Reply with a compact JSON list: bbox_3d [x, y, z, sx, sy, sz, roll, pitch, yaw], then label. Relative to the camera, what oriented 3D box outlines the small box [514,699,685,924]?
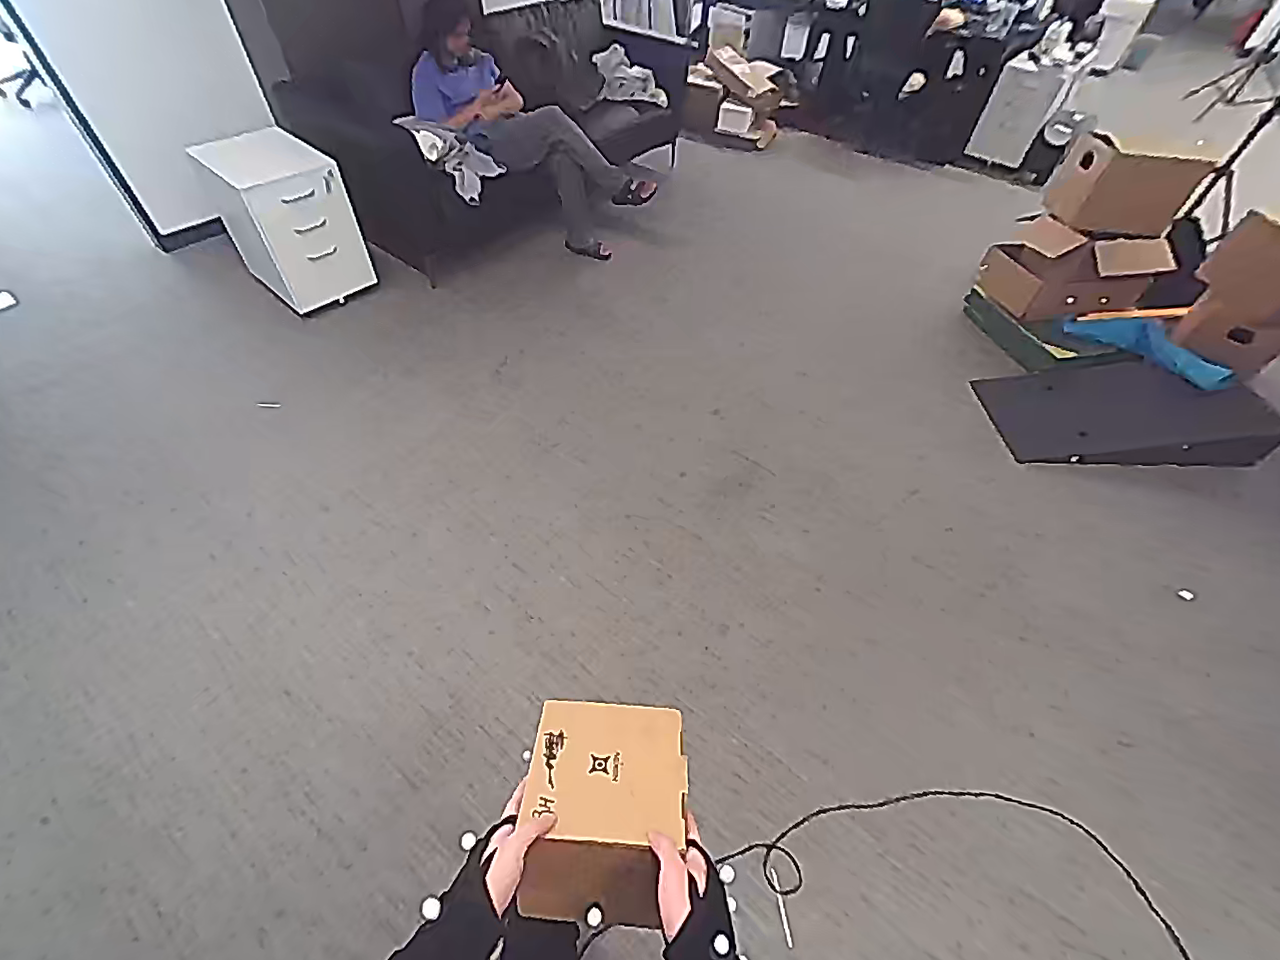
[{"bbox_3d":[-0.044,0.396,0.651,0.179,0.176,0.168,5,27,0],"label":"small box"}]
